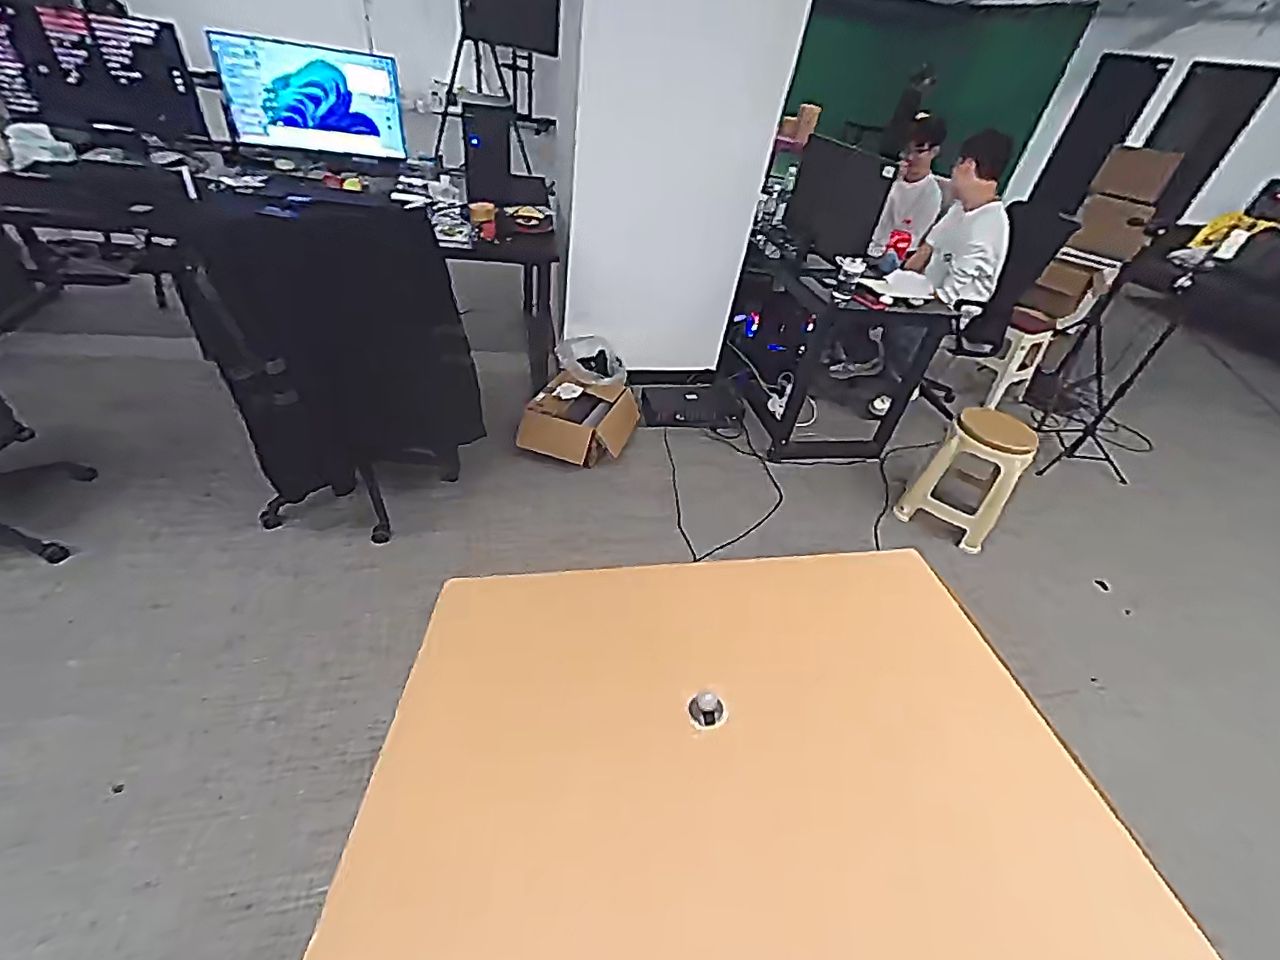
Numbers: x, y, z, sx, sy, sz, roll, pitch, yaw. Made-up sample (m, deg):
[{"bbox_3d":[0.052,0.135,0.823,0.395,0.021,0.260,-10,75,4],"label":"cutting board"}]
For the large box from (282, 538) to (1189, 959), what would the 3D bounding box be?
[{"bbox_3d":[0.034,0.273,0.414,0.408,0.320,0.320,-6,34,-1],"label":"large box"}]
